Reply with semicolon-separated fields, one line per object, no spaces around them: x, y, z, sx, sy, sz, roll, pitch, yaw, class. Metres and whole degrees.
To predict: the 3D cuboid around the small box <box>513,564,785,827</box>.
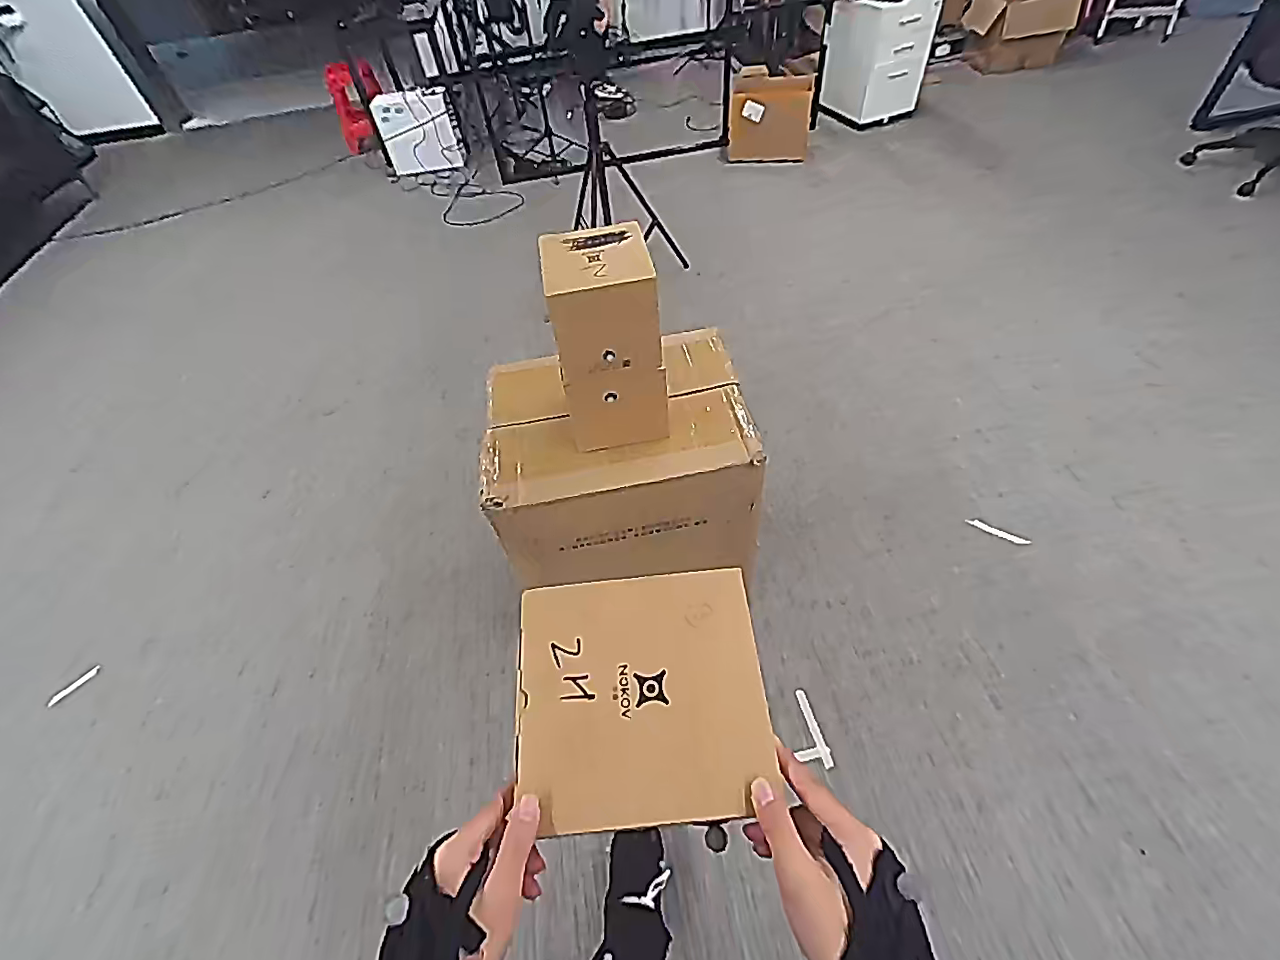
0.005;0.183;0.449;0.179;0.176;0.168;-6;57;1;small box

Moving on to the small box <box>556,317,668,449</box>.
-0.050;-0.176;1.011;0.179;0.176;0.168;-10;51;-2;small box
